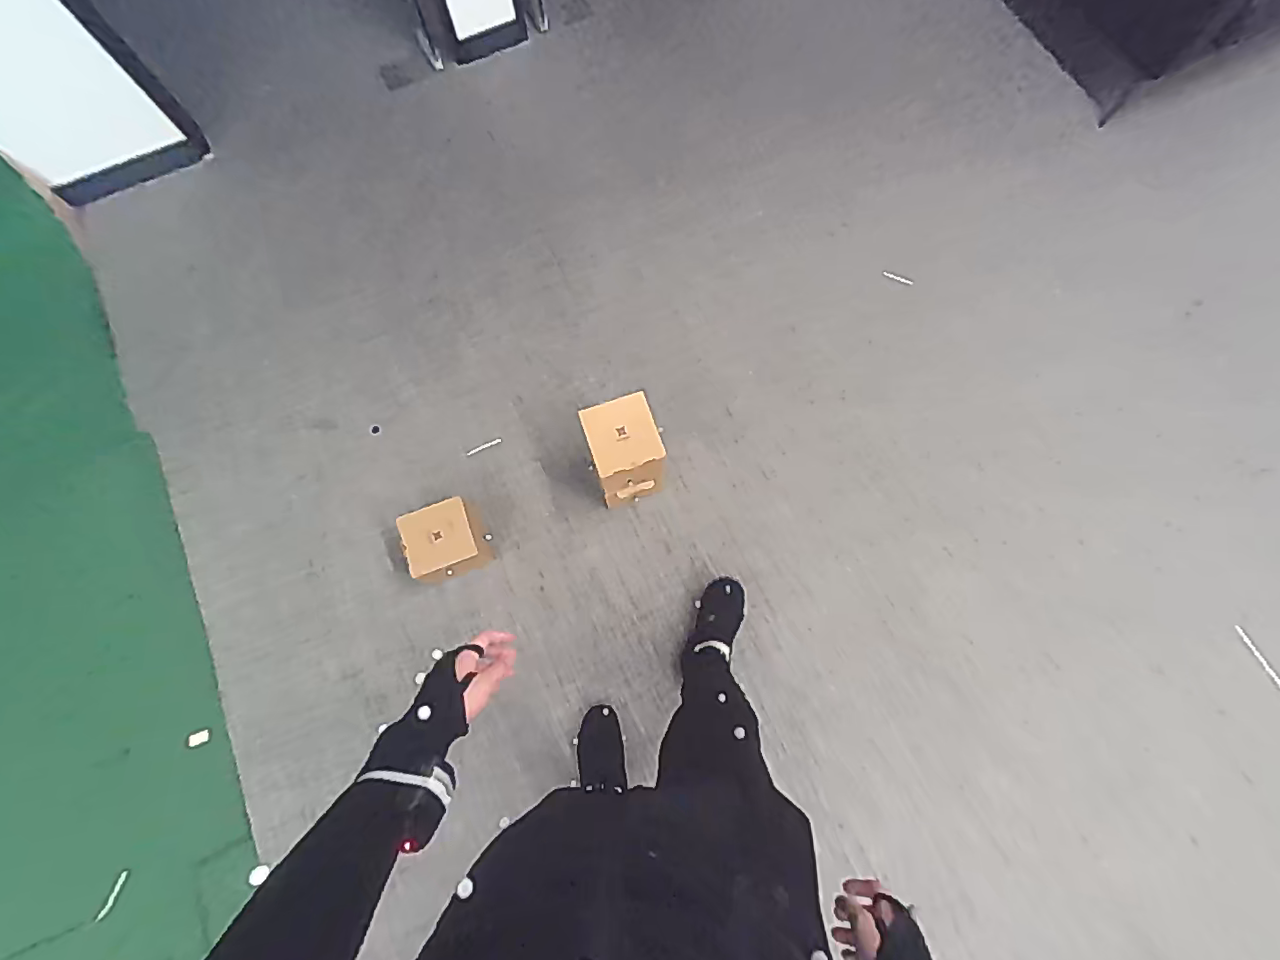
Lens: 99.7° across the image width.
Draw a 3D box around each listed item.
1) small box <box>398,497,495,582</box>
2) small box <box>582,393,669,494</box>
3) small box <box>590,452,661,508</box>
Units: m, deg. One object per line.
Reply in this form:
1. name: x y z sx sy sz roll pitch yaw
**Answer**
1. small box: -0.510 0.165 1.440 0.179 0.176 0.168 -20 76 -5
2. small box: -0.038 -0.083 1.334 0.168 0.176 0.179 -19 76 -5
3. small box: -0.042 -0.036 1.488 0.168 0.176 0.179 -14 76 -1
